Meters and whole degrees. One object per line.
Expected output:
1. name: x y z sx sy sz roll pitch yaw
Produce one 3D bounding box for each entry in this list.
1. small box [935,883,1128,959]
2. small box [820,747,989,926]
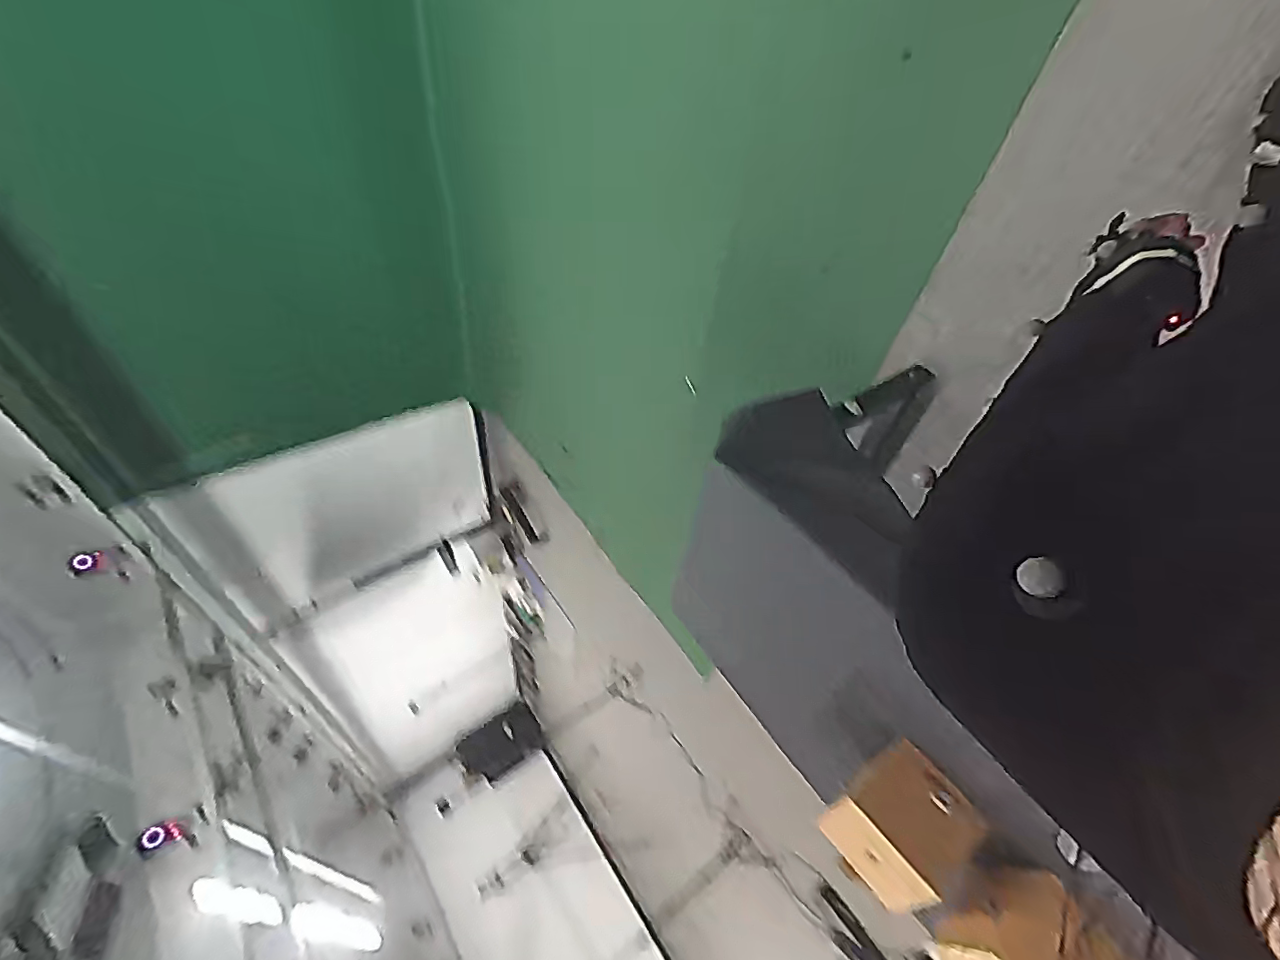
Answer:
1. small box: 0.584 0.723 0.781 0.179 0.176 0.168 50 148 23
2. small box: 0.443 0.595 0.912 0.168 0.176 0.179 43 144 32
